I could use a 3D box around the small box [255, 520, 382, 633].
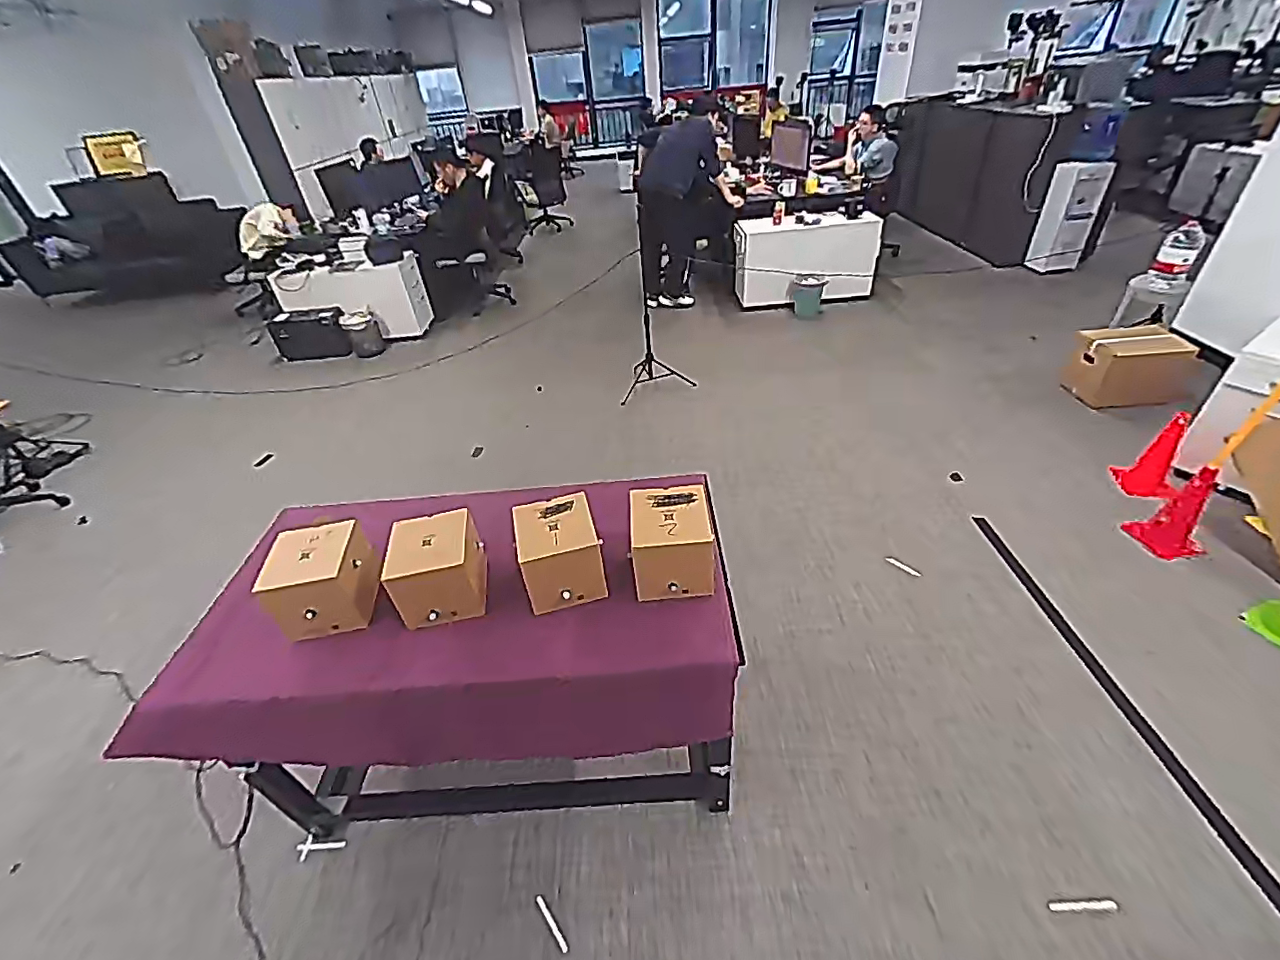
[{"bbox_3d":[-0.690,0.216,1.188,0.168,0.176,0.179,-9,38,-5],"label":"small box"}]

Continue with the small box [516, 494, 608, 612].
[{"bbox_3d":[-0.173,0.160,1.196,0.168,0.176,0.179,-12,39,-8],"label":"small box"}]

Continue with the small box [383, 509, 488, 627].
[{"bbox_3d":[-0.438,0.193,1.189,0.168,0.176,0.179,-11,38,-5],"label":"small box"}]
